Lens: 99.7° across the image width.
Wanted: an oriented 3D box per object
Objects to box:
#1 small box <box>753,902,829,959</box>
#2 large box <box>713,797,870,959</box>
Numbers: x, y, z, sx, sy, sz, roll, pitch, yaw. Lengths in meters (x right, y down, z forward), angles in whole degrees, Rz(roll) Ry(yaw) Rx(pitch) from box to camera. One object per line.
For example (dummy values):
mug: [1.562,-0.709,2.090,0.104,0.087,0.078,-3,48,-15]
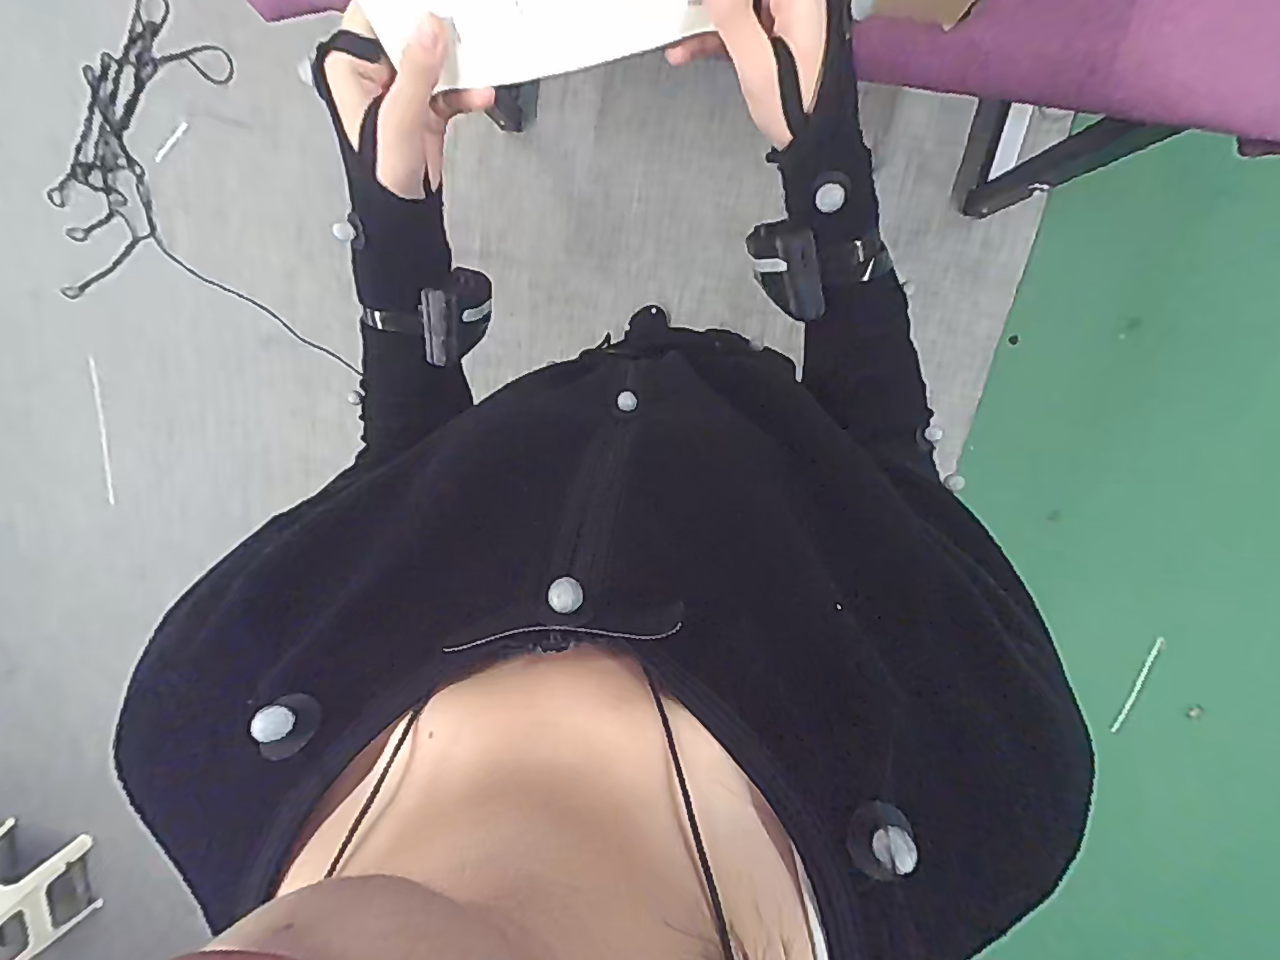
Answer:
small box: [0.385,1.240,1.394,0.168,0.176,0.179,3,104,6]
large box: [0.439,1.208,1.636,0.408,0.320,0.320,-3,105,6]
